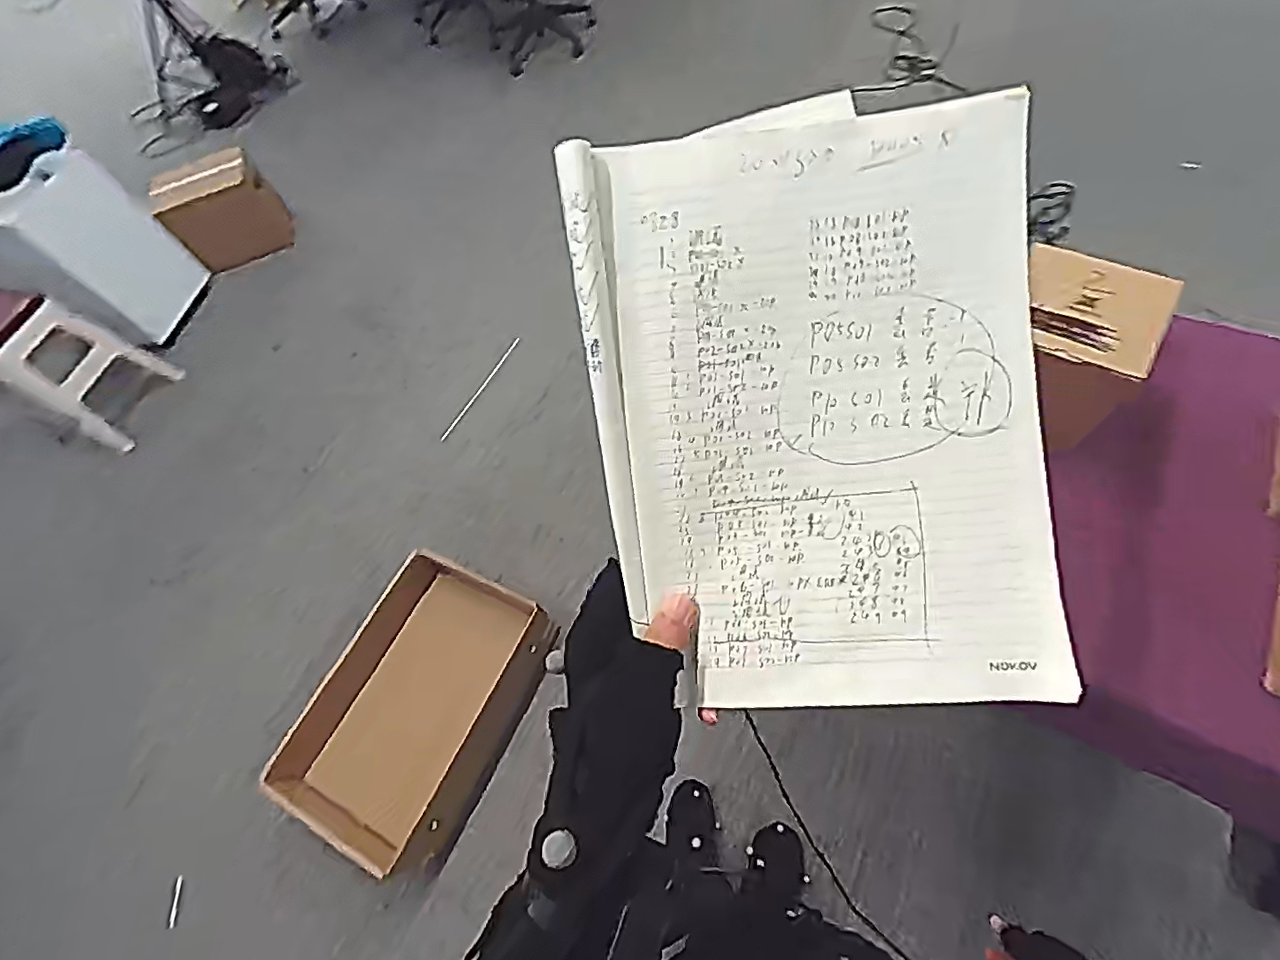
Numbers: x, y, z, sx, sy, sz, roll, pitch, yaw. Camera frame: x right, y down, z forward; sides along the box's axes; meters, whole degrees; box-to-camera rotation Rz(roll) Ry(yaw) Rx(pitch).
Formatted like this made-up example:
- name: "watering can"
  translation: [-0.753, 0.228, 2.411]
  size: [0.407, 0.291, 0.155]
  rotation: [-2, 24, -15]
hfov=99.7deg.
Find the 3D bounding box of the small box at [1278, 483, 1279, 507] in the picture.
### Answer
- name: "small box"
  translation: [0.865, -0.024, 0.583]
  size: [0.168, 0.176, 0.179]
  rotation: [25, 69, 21]
